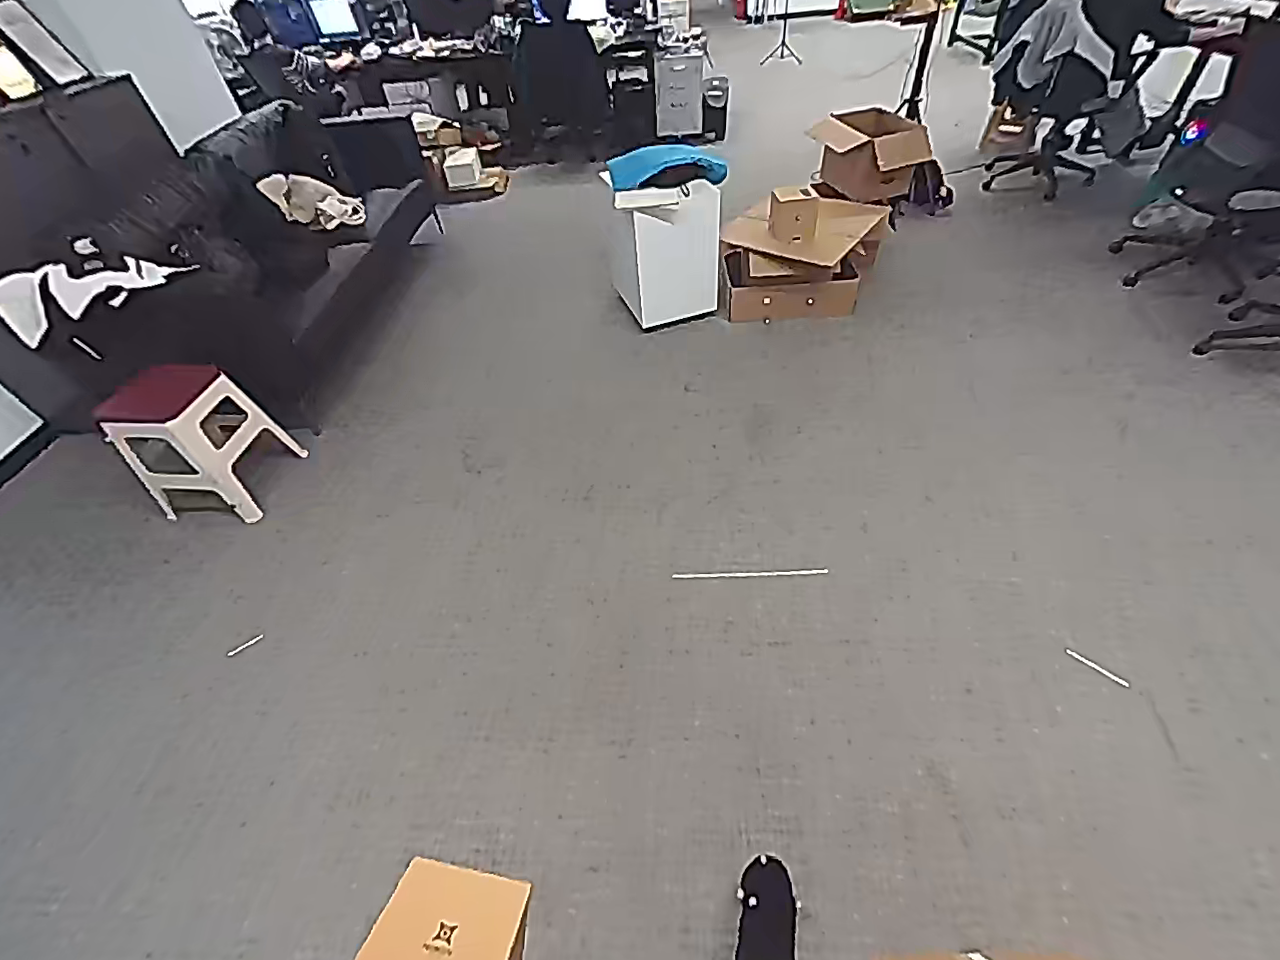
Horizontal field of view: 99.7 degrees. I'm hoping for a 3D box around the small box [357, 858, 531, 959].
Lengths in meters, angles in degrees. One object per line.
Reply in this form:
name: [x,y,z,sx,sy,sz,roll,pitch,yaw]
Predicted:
small box: [-0.245,0.621,0.661,0.168,0.176,0.179,10,12,3]
